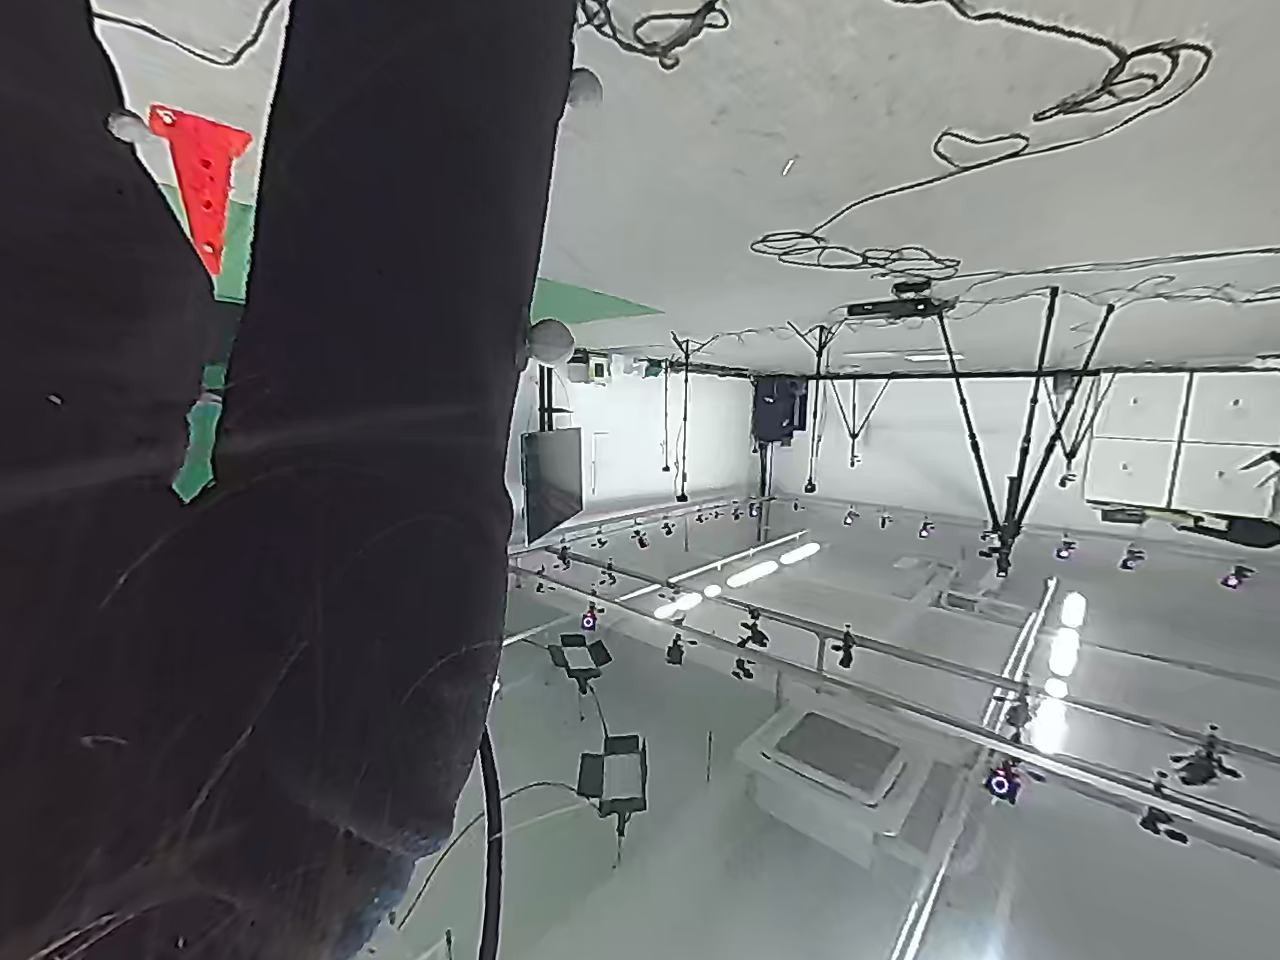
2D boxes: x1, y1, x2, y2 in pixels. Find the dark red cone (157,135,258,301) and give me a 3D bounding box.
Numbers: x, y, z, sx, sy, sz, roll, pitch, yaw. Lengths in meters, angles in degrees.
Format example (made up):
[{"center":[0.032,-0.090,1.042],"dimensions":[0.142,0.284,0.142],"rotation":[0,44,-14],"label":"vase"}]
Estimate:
[{"center":[-1.132,-0.683,1.434],"dimensions":[0.202,0.394,0.201],"rotation":[-6,-167,-42],"label":"dark red cone"}]
